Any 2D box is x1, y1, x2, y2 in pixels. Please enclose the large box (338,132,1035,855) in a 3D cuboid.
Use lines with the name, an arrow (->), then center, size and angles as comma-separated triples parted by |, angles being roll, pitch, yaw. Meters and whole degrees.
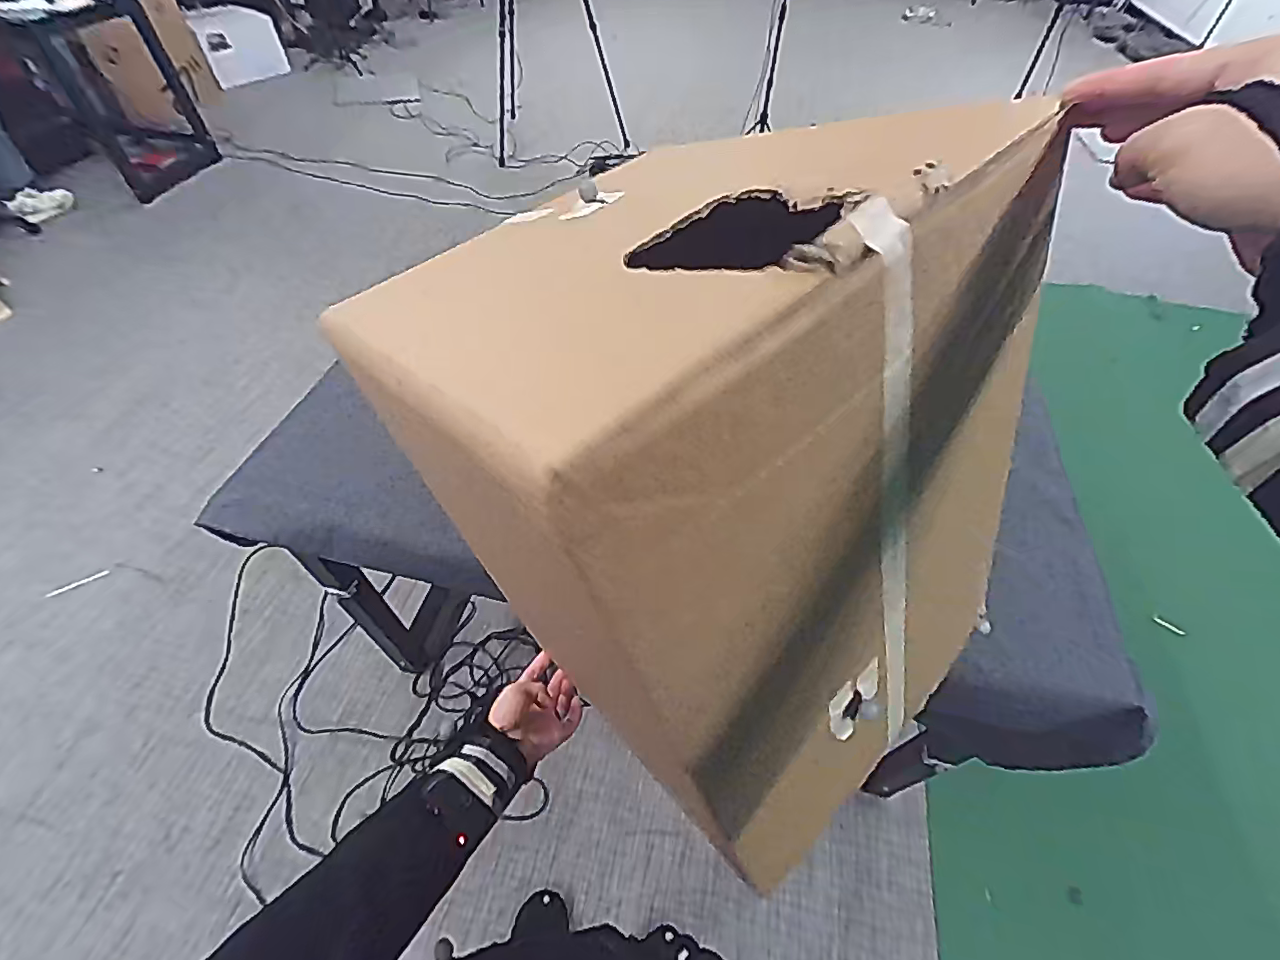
large box -> 0.050, 0.003, 0.441 | 0.320, 0.408, 0.320 | -39, 43, -21
